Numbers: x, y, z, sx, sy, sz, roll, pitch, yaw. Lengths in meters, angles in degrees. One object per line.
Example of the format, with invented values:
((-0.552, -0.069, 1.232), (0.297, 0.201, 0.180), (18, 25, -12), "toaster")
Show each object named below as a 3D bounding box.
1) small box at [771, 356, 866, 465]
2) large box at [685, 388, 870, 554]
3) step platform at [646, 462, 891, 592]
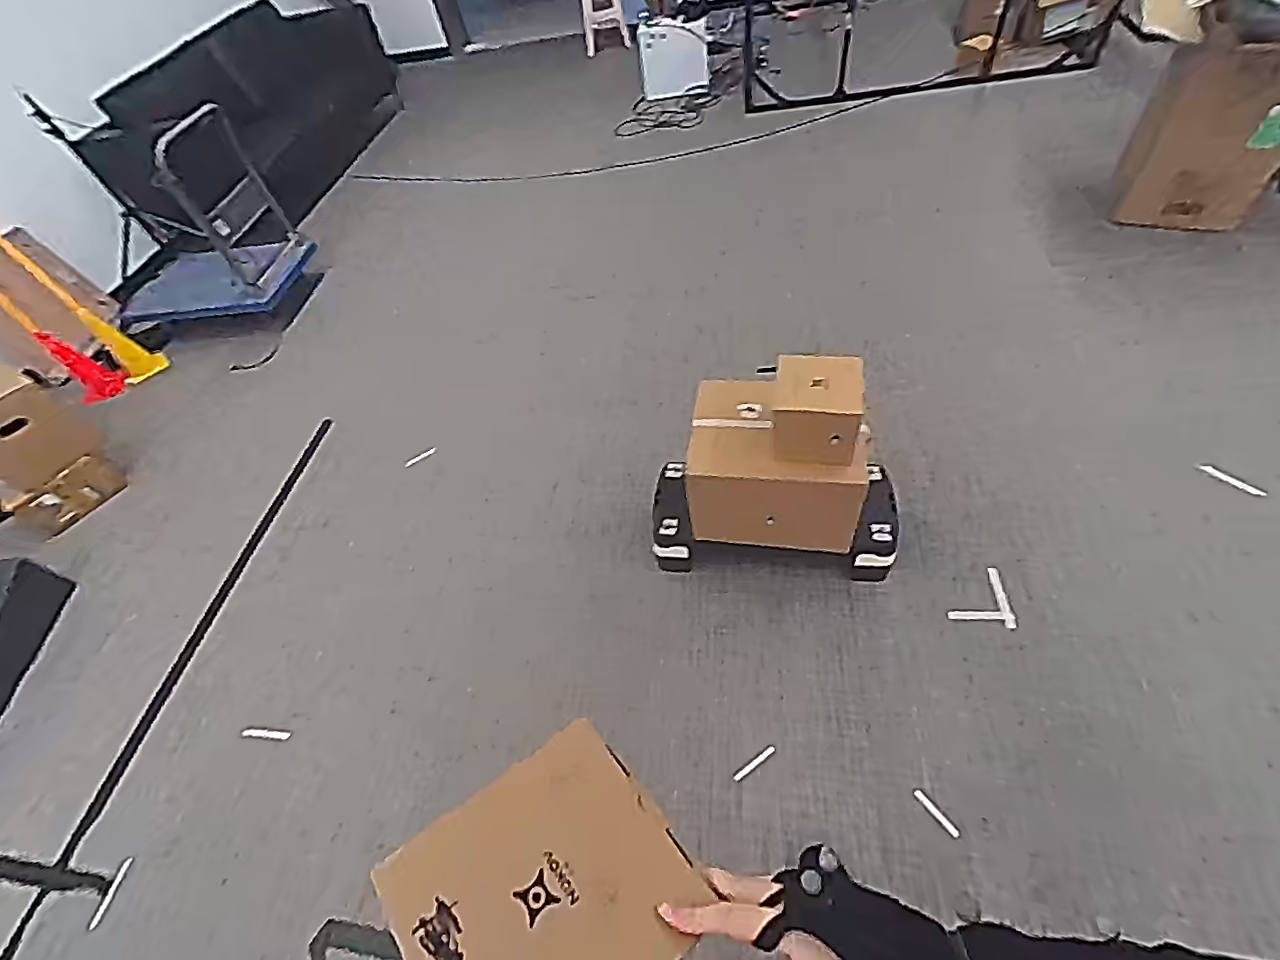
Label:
((0.383, -0.148, 1.172), (0.179, 0.176, 0.168), (5, 55, 16), "small box")
((0.349, -0.023, 1.396), (0.408, 0.320, 0.320), (2, 53, 14), "large box")
((0.361, 0.123, 1.586), (0.684, 0.204, 0.286), (4, 54, 16), "step platform")
